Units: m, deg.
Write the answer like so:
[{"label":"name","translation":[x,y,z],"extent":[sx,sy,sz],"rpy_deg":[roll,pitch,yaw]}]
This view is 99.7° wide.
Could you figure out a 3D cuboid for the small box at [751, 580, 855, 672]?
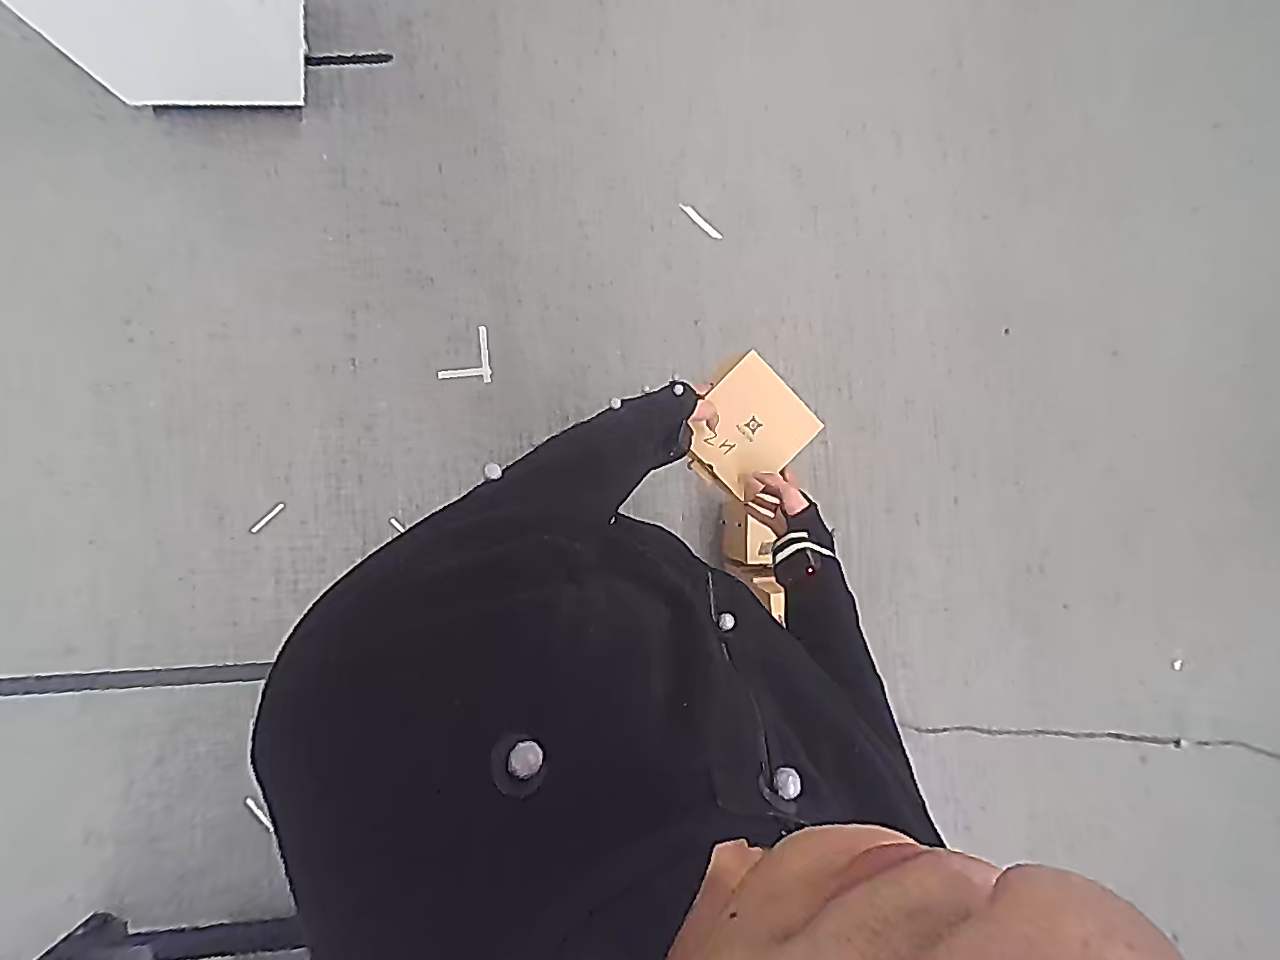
[{"label":"small box","translation":[0.368,0.327,1.240],"extent":[0.179,0.176,0.168],"rpy_deg":[-4,87,-3]}]

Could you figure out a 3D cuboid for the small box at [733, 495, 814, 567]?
[{"label":"small box","translation":[0.344,0.130,1.411],"extent":[0.168,0.176,0.179],"rpy_deg":[2,86,-3]}]

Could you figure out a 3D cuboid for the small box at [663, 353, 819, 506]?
[{"label":"small box","translation":[0.153,-0.086,0.895],"extent":[0.168,0.176,0.179],"rpy_deg":[44,94,-7]}]
